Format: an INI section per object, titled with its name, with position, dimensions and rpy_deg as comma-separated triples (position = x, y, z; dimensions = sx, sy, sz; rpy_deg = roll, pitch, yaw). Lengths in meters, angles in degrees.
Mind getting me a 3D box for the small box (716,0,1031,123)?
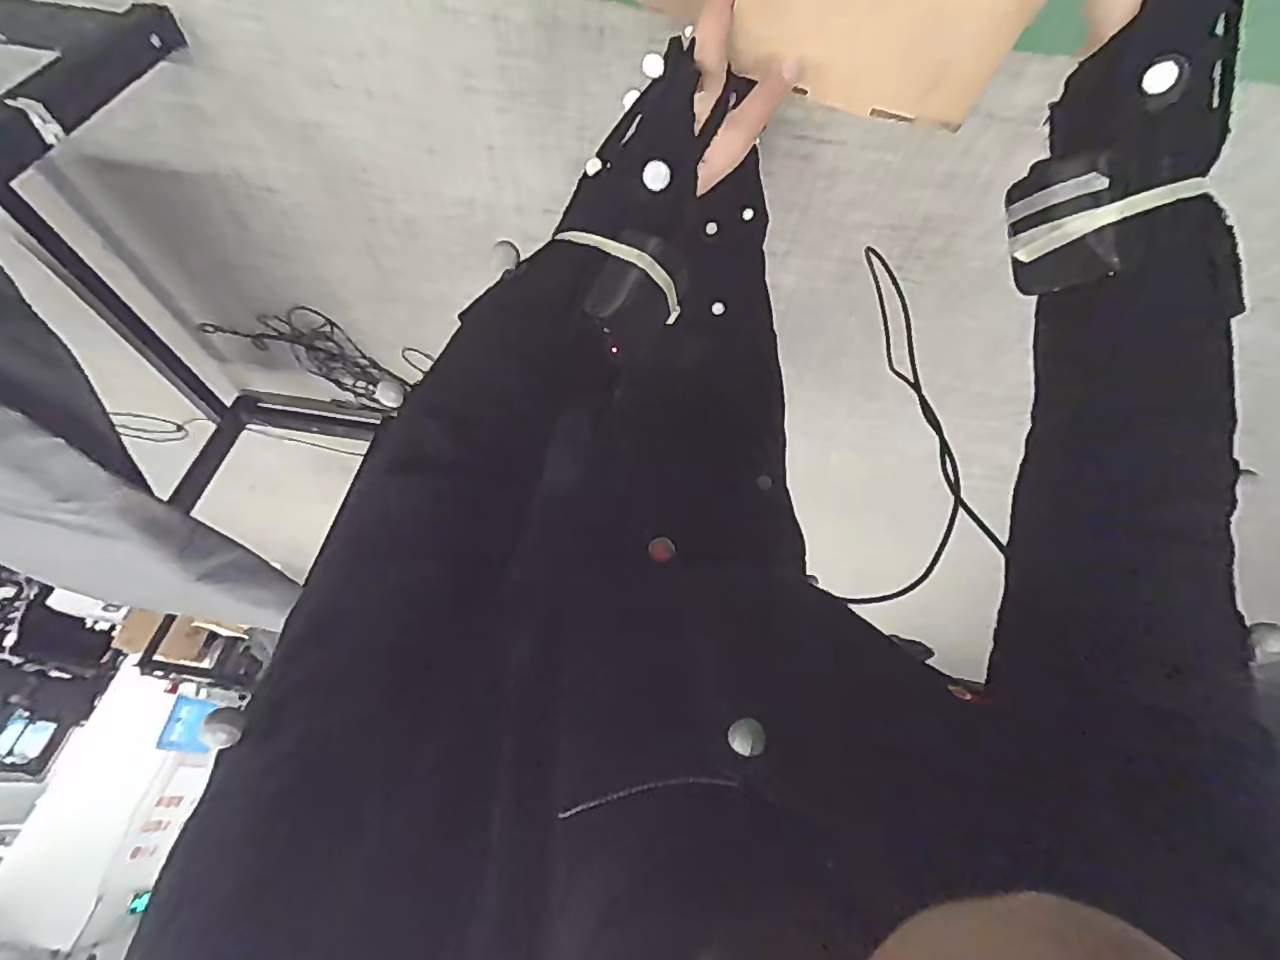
[small box]
position = 0.154, -0.360, 0.316
dimensions = 0.168, 0.176, 0.179
rpy_deg = 13, 149, -1
